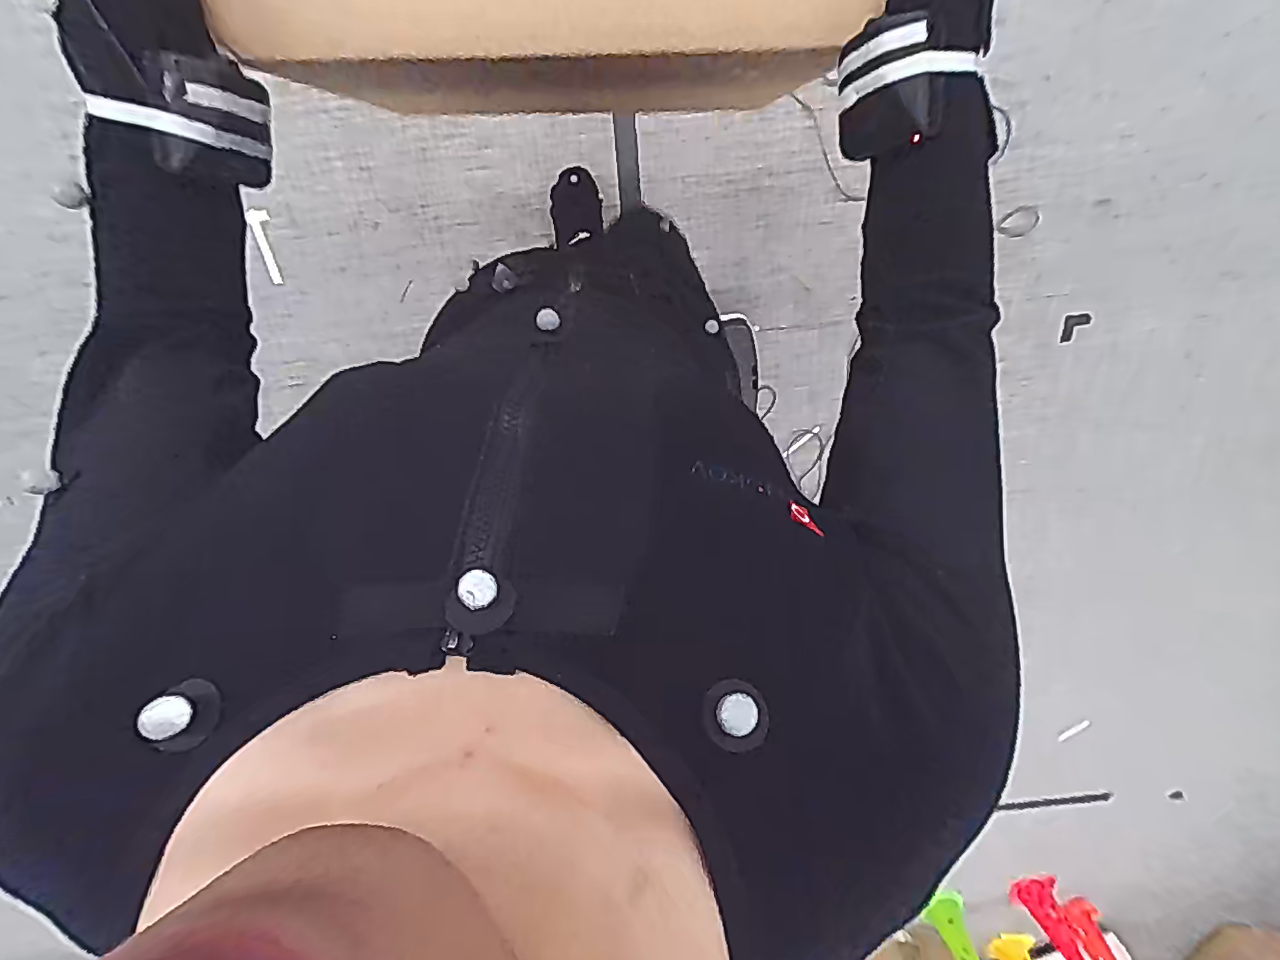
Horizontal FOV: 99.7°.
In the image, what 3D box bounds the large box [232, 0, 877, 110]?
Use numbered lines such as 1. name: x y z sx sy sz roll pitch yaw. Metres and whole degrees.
1. large box: -0.061 -0.485 0.398 0.408 0.320 0.320 -2 119 -1
